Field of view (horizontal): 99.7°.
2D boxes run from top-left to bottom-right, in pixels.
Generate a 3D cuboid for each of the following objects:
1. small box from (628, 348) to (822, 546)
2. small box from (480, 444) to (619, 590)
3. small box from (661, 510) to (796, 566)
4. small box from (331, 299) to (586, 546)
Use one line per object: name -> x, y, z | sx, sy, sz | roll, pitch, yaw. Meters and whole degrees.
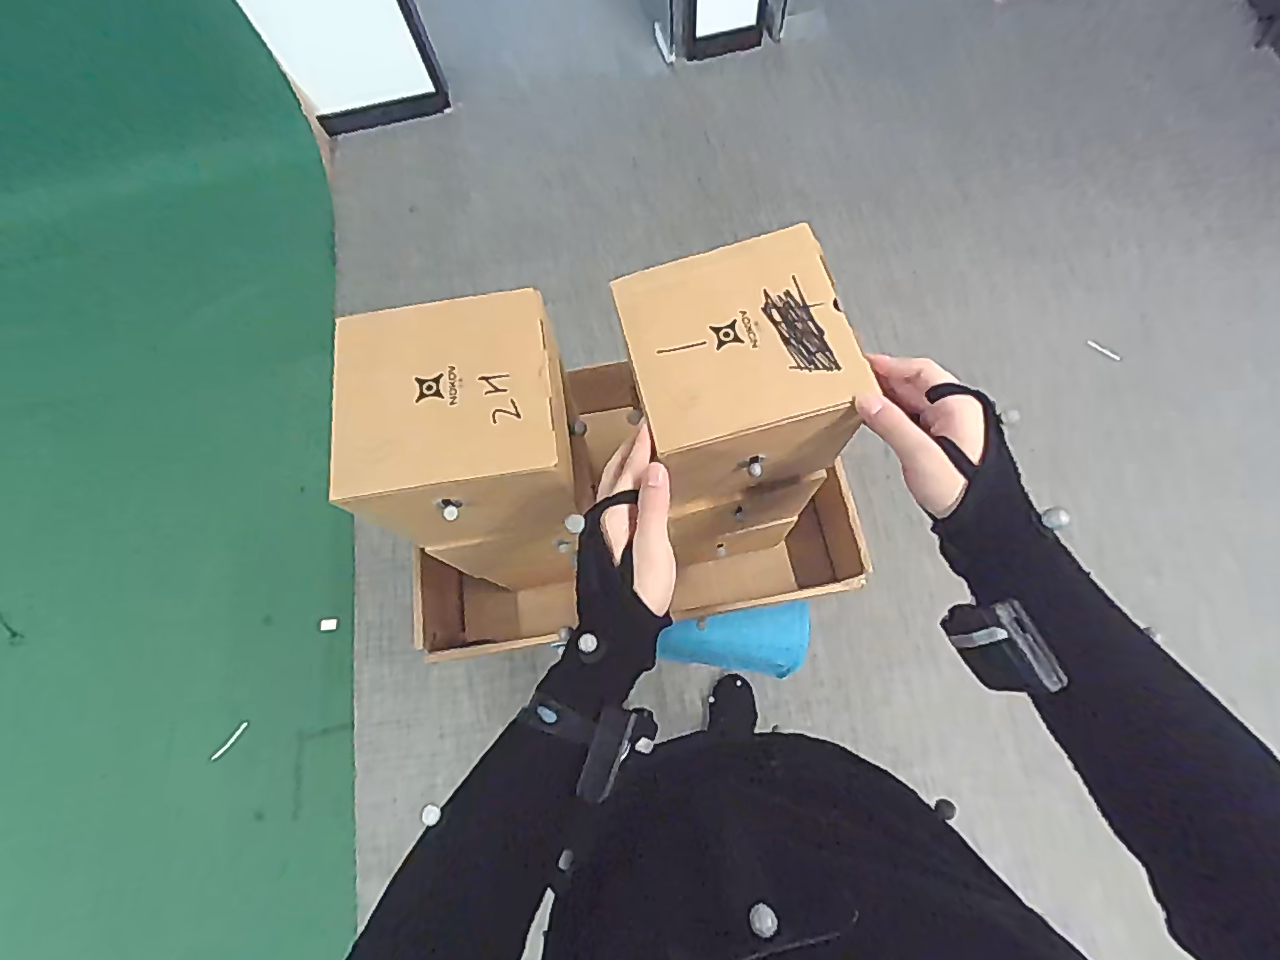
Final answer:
small box -> 0.097, -0.028, 0.658 | 0.179, 0.176, 0.168 | -15, 71, 2
small box -> -0.135, 0.065, 0.824 | 0.179, 0.176, 0.168 | -11, 71, -1
small box -> 0.117, 0.023, 0.812 | 0.179, 0.176, 0.168 | -15, 71, 3
small box -> -0.157, -0.041, 0.513 | 0.179, 0.176, 0.168 | -9, 71, 0
